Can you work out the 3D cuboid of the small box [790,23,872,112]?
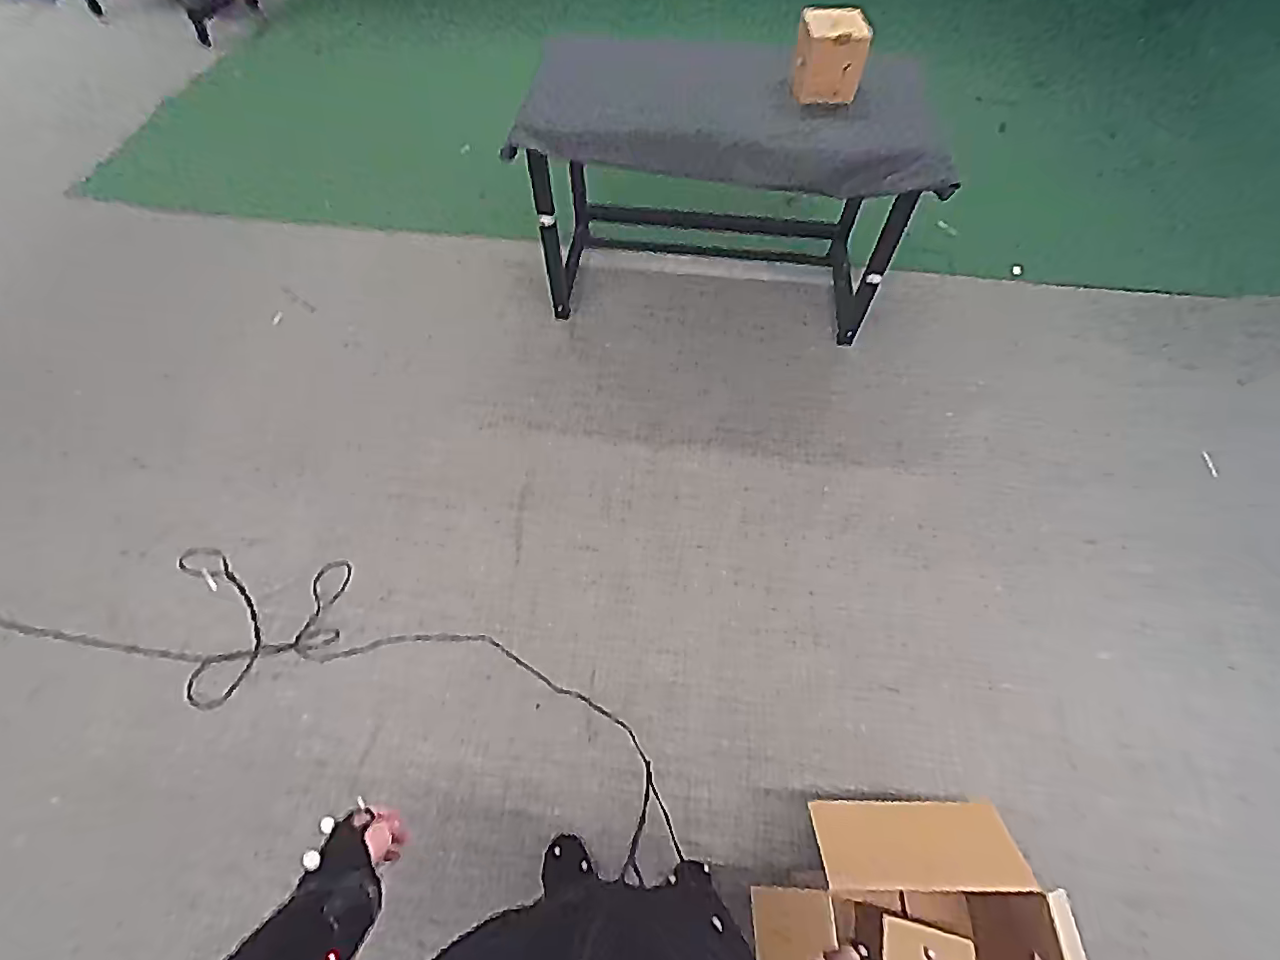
[{"bbox_3d":[0.562,-1.227,1.614,0.168,0.176,0.179,-1,58,-3],"label":"small box"}]
